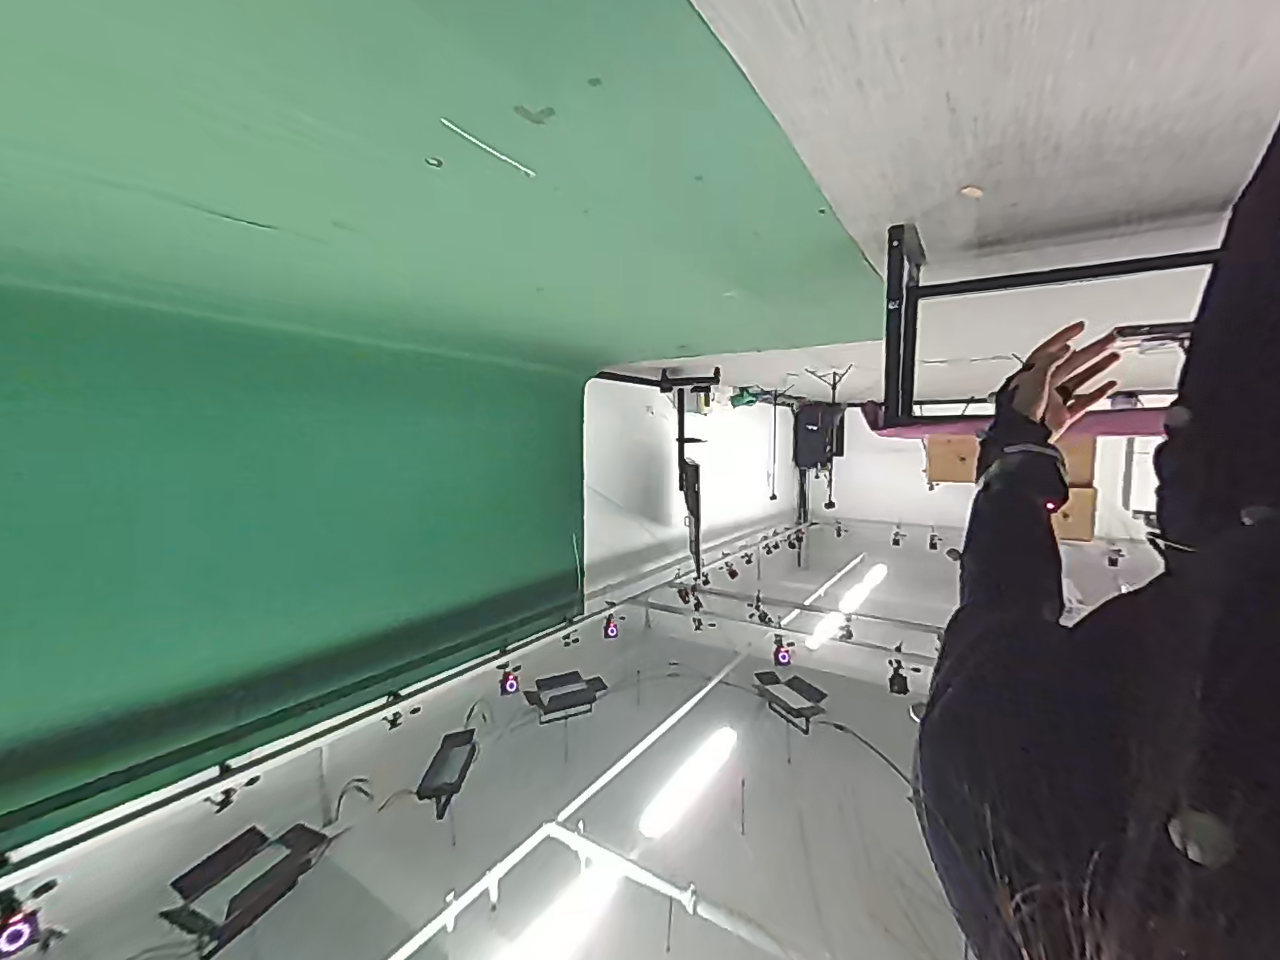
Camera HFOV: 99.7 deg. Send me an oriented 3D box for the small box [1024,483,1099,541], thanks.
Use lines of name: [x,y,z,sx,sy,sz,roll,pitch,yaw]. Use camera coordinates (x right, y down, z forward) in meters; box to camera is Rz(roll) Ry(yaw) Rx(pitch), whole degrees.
small box: [1.374,0.096,1.767,0.179,0.176,0.168,1,-175,30]

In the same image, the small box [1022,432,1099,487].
small box: [1.372,-0.069,1.770,0.179,0.176,0.168,3,-174,29]

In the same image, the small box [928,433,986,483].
small box: [1.122,-0.079,1.919,0.168,0.176,0.179,1,-175,25]
